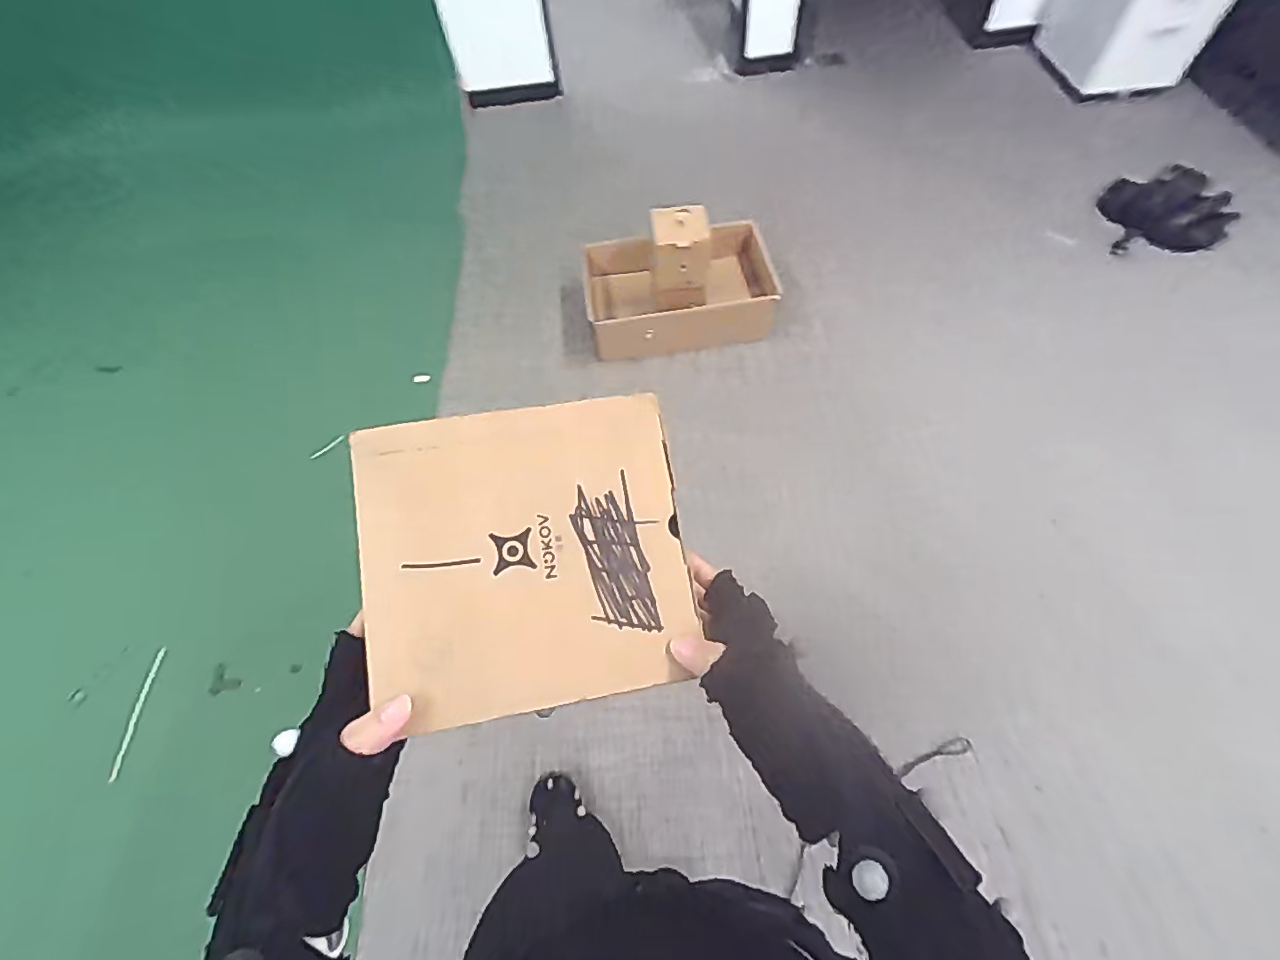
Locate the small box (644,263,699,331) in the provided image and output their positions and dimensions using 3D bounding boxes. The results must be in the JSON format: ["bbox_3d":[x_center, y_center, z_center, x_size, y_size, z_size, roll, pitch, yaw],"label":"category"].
[{"bbox_3d":[0.107,-0.623,1.839,0.168,0.176,0.179,-7,57,-2],"label":"small box"}]

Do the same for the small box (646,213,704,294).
[{"bbox_3d":[0.108,-0.702,1.696,0.168,0.176,0.179,-5,59,0],"label":"small box"}]

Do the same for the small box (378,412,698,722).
[{"bbox_3d":[-0.071,0.061,0.397,0.179,0.176,0.168,-7,77,-9],"label":"small box"}]
